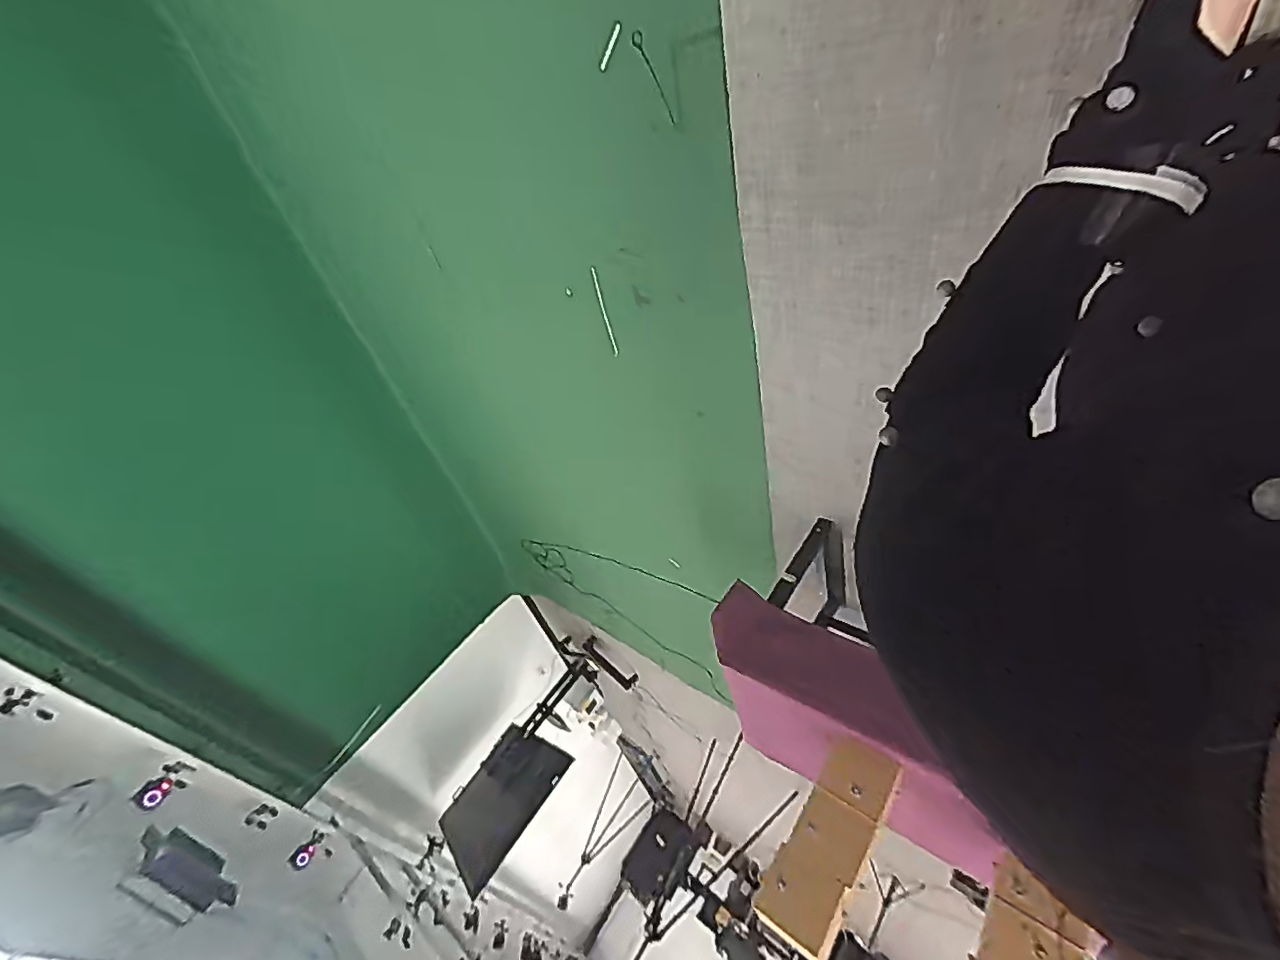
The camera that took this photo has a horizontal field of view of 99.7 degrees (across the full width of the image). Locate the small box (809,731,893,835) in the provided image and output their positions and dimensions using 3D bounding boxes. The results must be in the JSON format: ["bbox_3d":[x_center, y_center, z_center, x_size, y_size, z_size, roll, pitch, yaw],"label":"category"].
[{"bbox_3d":[0.597,0.851,1.529,0.179,0.176,0.168,20,143,36],"label":"small box"}]

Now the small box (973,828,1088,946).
[{"bbox_3d":[0.921,0.963,1.280,0.179,0.176,0.168,18,142,38],"label":"small box"}]

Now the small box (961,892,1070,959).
[{"bbox_3d":[0.827,1.071,1.202,0.168,0.176,0.179,18,141,38],"label":"small box"}]

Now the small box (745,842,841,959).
[{"bbox_3d":[0.396,1.067,1.385,0.179,0.176,0.168,18,142,37],"label":"small box"}]
